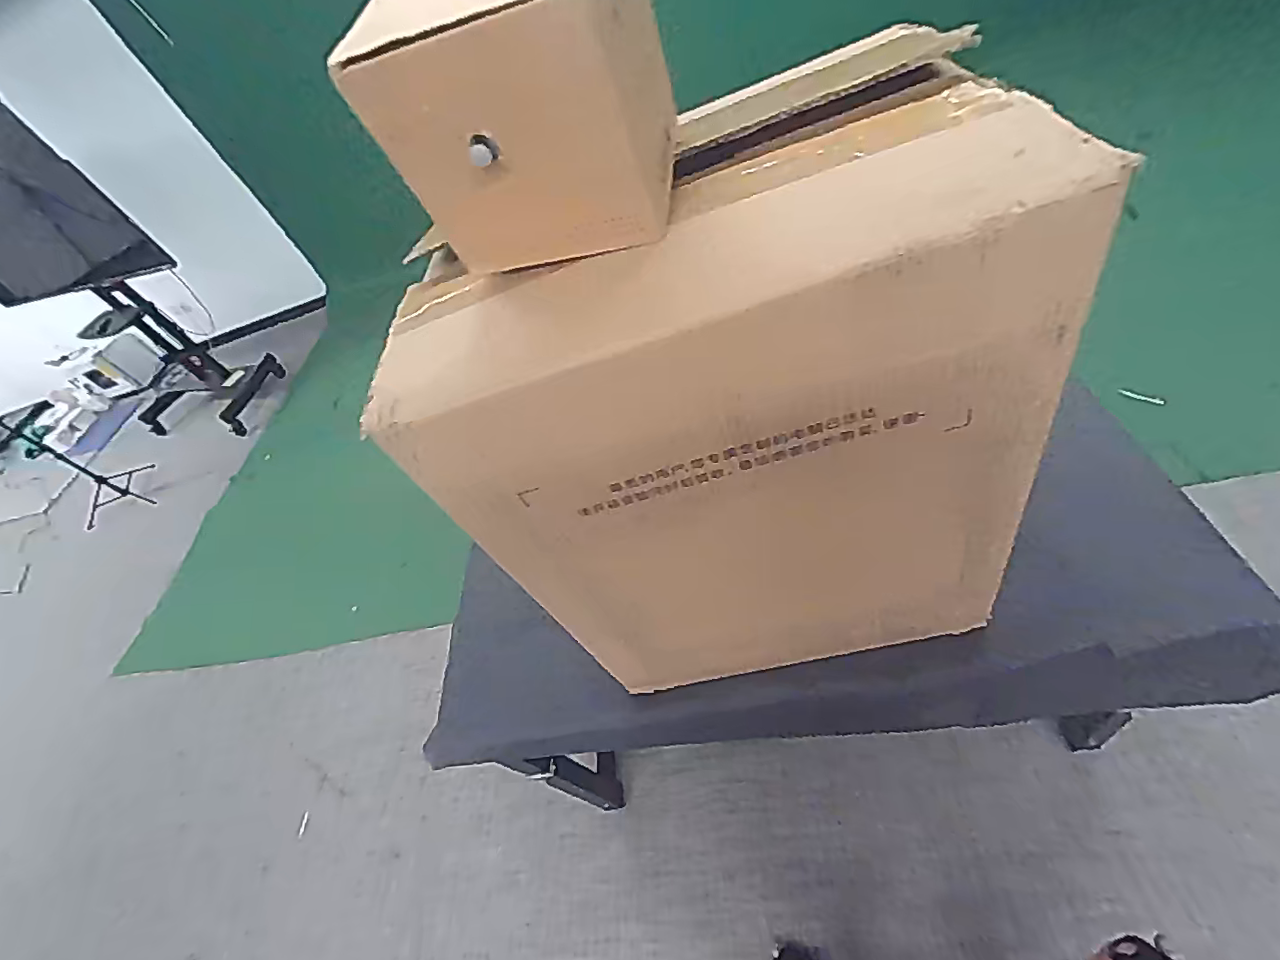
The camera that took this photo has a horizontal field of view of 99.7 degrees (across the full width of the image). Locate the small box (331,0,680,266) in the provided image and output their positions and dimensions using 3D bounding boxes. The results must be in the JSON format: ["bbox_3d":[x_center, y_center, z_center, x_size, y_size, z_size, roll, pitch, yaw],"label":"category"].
[{"bbox_3d":[-0.079,-0.290,0.412,0.179,0.176,0.168,-3,63,19],"label":"small box"}]
